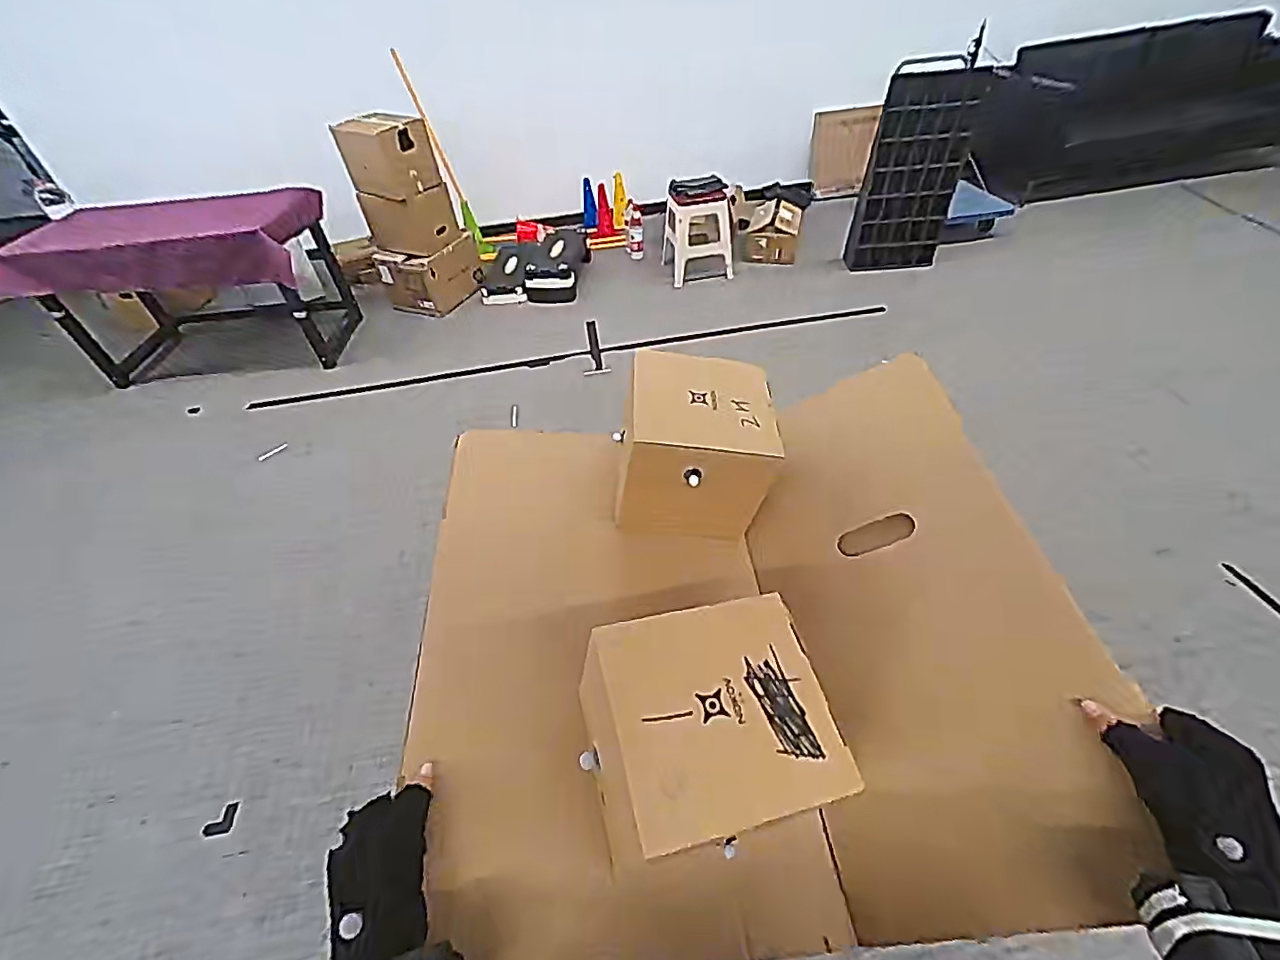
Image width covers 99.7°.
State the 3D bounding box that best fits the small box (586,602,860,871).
[{"bbox_3d":[0.055,0.233,0.493,0.179,0.176,0.168,-7,53,-16],"label":"small box"}]

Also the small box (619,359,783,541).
[{"bbox_3d":[0.068,-0.034,0.717,0.179,0.176,0.168,6,50,-6],"label":"small box"}]
